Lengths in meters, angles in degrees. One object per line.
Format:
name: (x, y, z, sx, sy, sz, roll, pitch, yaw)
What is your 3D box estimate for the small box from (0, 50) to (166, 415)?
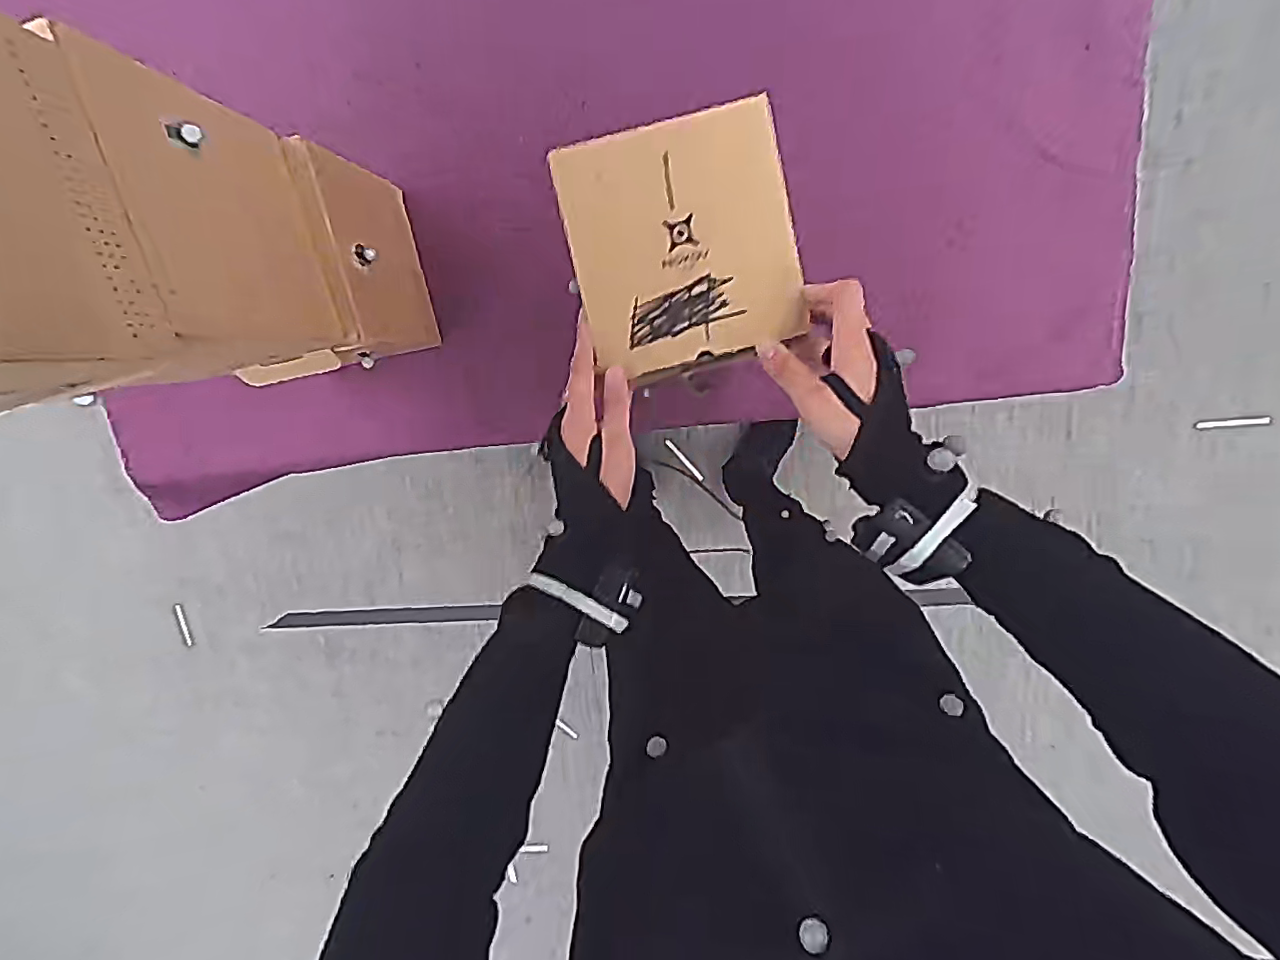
small box: (-0.384, -0.116, 0.242, 0.168, 0.176, 0.179, -12, 102, 9)

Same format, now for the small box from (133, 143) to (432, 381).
small box: (-0.341, -0.209, 0.558, 0.168, 0.176, 0.179, -9, 103, 7)
